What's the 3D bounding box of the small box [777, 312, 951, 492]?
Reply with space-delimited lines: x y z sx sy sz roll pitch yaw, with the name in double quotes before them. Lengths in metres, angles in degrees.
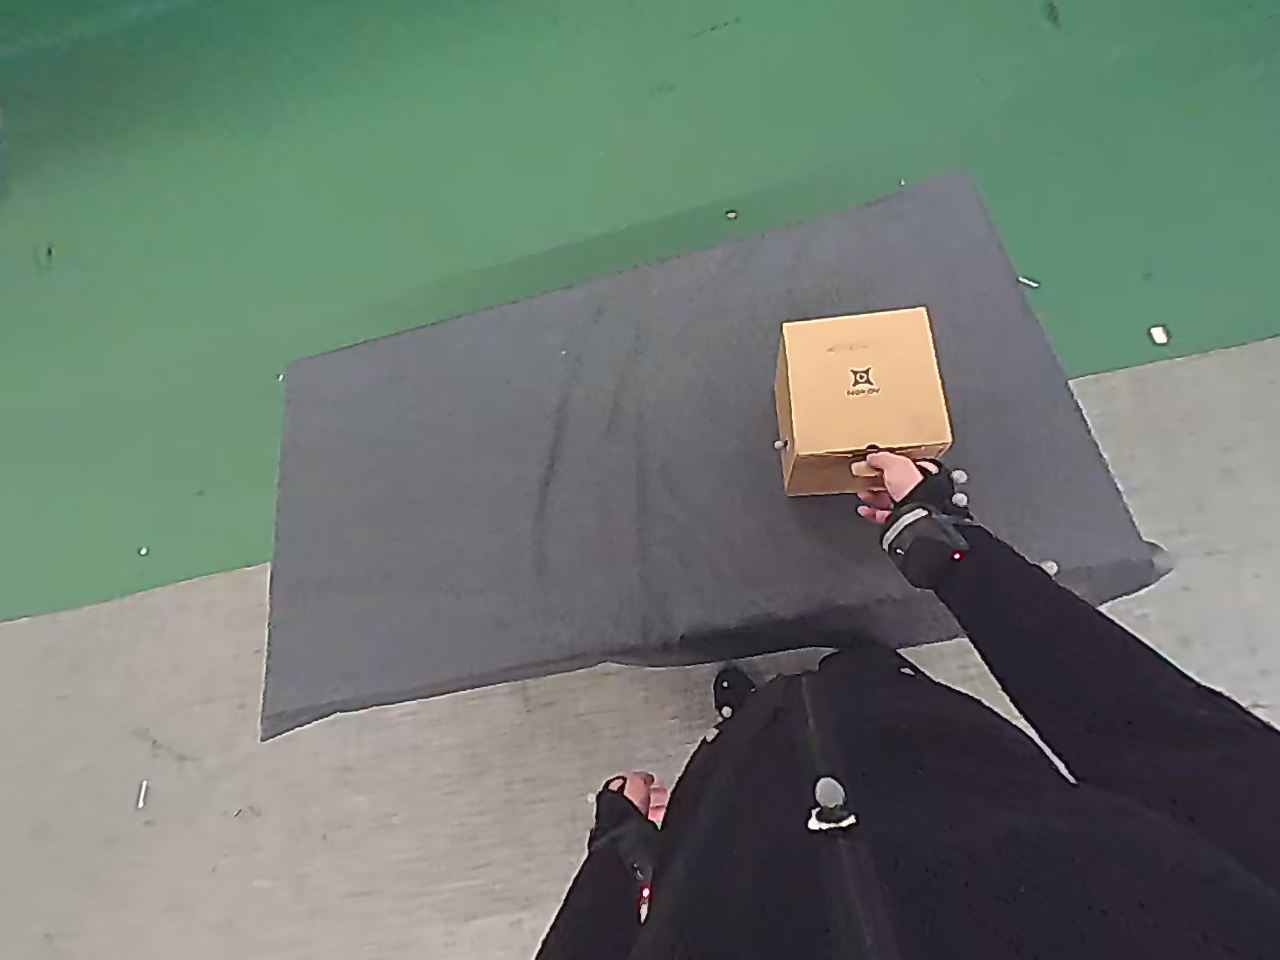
"small box" 0.270 -0.087 0.696 0.168 0.176 0.179 -3 70 9
